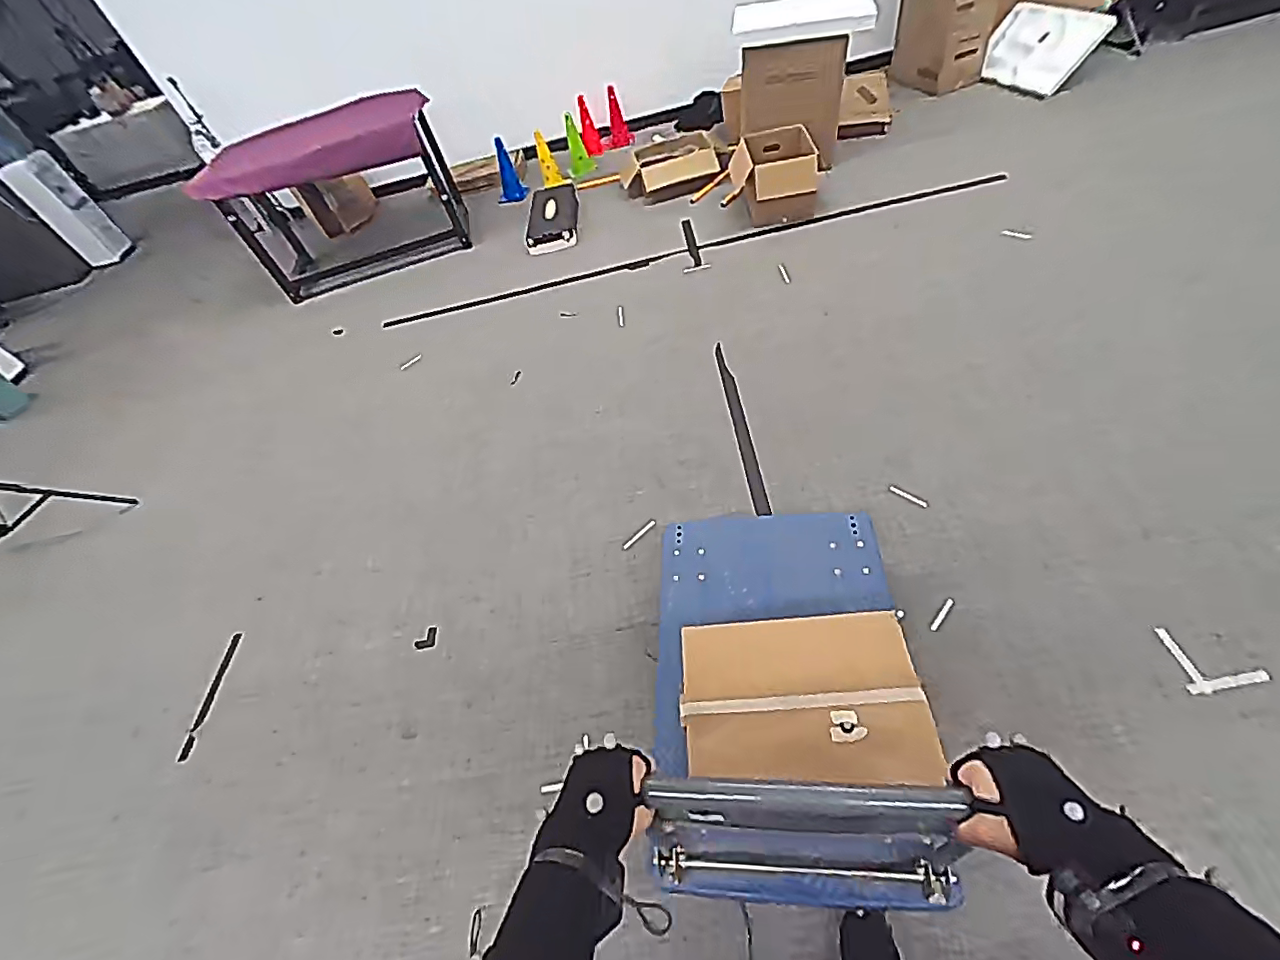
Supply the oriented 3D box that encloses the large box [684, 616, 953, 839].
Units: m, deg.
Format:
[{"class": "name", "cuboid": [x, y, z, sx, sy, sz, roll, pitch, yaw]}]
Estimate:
[{"class": "large box", "cuboid": [0.307, 0.490, 1.054, 0.408, 0.320, 0.320, -6, 50, 7]}]
